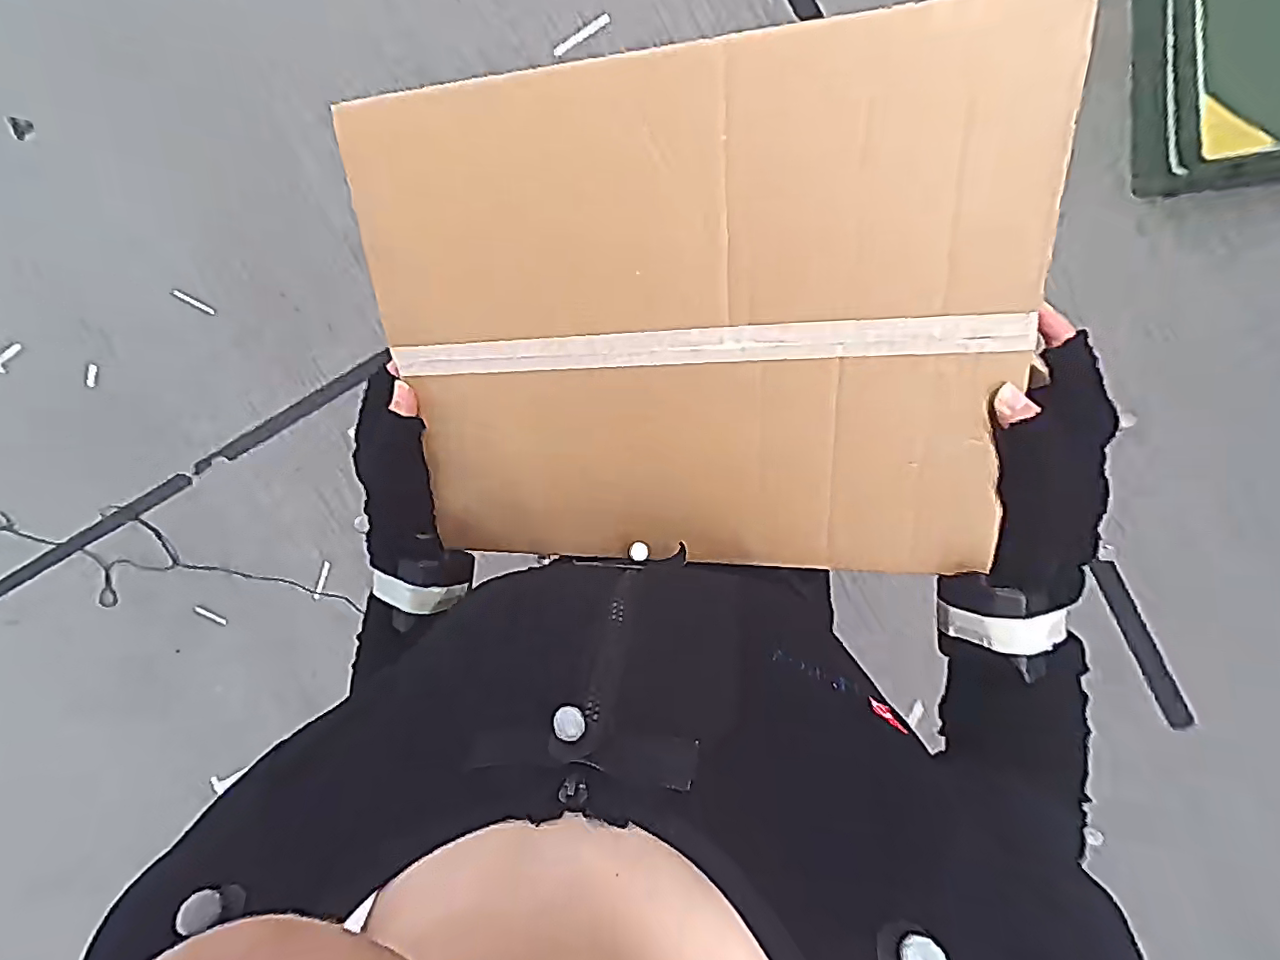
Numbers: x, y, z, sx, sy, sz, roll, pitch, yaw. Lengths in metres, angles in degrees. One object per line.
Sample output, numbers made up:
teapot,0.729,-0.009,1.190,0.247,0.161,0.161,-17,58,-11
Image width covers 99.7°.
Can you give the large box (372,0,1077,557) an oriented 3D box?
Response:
large box,0.060,-0.145,0.492,0.408,0.320,0.320,1,114,13
